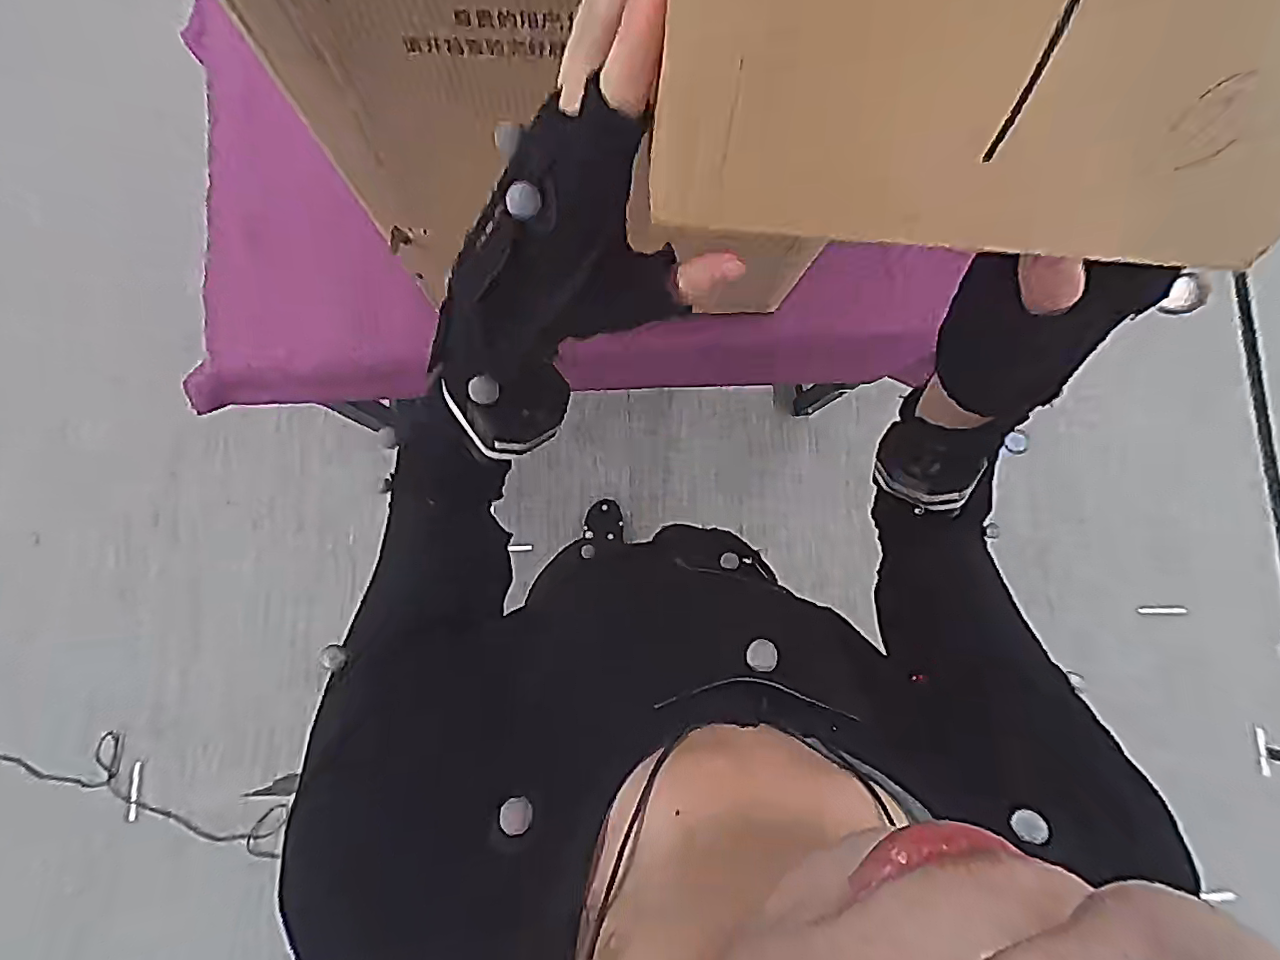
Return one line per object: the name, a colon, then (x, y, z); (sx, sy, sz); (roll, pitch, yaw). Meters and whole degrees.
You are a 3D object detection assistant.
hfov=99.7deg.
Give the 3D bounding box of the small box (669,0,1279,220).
small box: (0.099, -0.186, 0.130); (0.168, 0.179, 0.176); (4, 43, -3)
